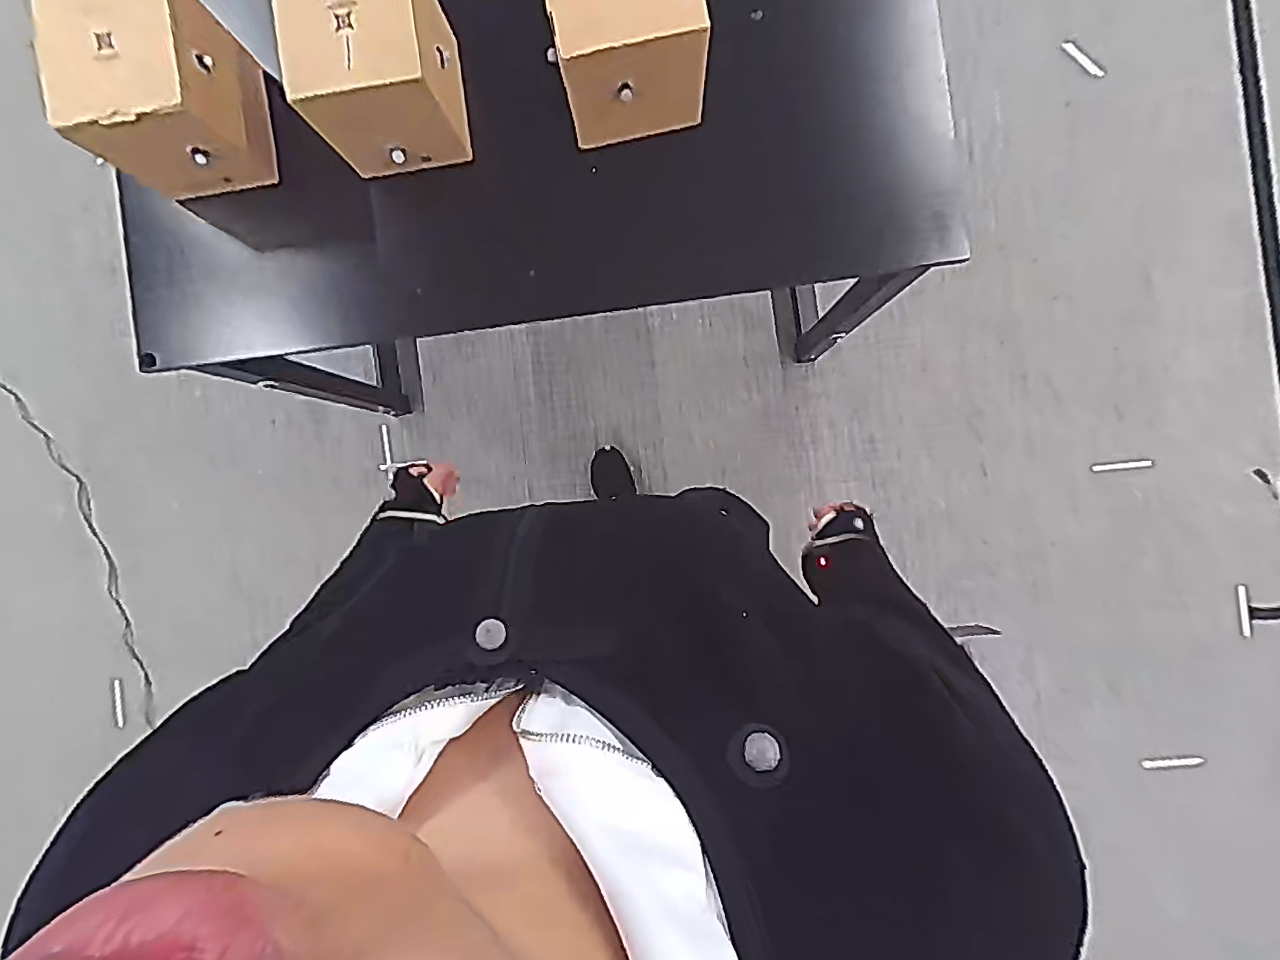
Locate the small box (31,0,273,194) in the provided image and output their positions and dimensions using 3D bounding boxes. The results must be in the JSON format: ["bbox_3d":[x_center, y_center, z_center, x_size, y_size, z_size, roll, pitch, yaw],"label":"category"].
[{"bbox_3d":[-0.625,-0.506,0.716,0.168,0.176,0.179,-9,89,1],"label":"small box"}]

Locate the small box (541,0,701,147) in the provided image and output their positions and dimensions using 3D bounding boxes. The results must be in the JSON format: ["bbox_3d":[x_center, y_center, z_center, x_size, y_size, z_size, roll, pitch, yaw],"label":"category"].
[{"bbox_3d":[-0.024,-0.565,0.694,0.179,0.176,0.168,-11,90,3],"label":"small box"}]

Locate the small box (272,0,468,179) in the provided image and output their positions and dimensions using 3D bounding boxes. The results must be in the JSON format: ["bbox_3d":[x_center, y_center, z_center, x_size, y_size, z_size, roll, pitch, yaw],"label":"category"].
[{"bbox_3d":[-0.339,-0.532,0.705,0.168,0.176,0.179,-8,90,2],"label":"small box"}]
